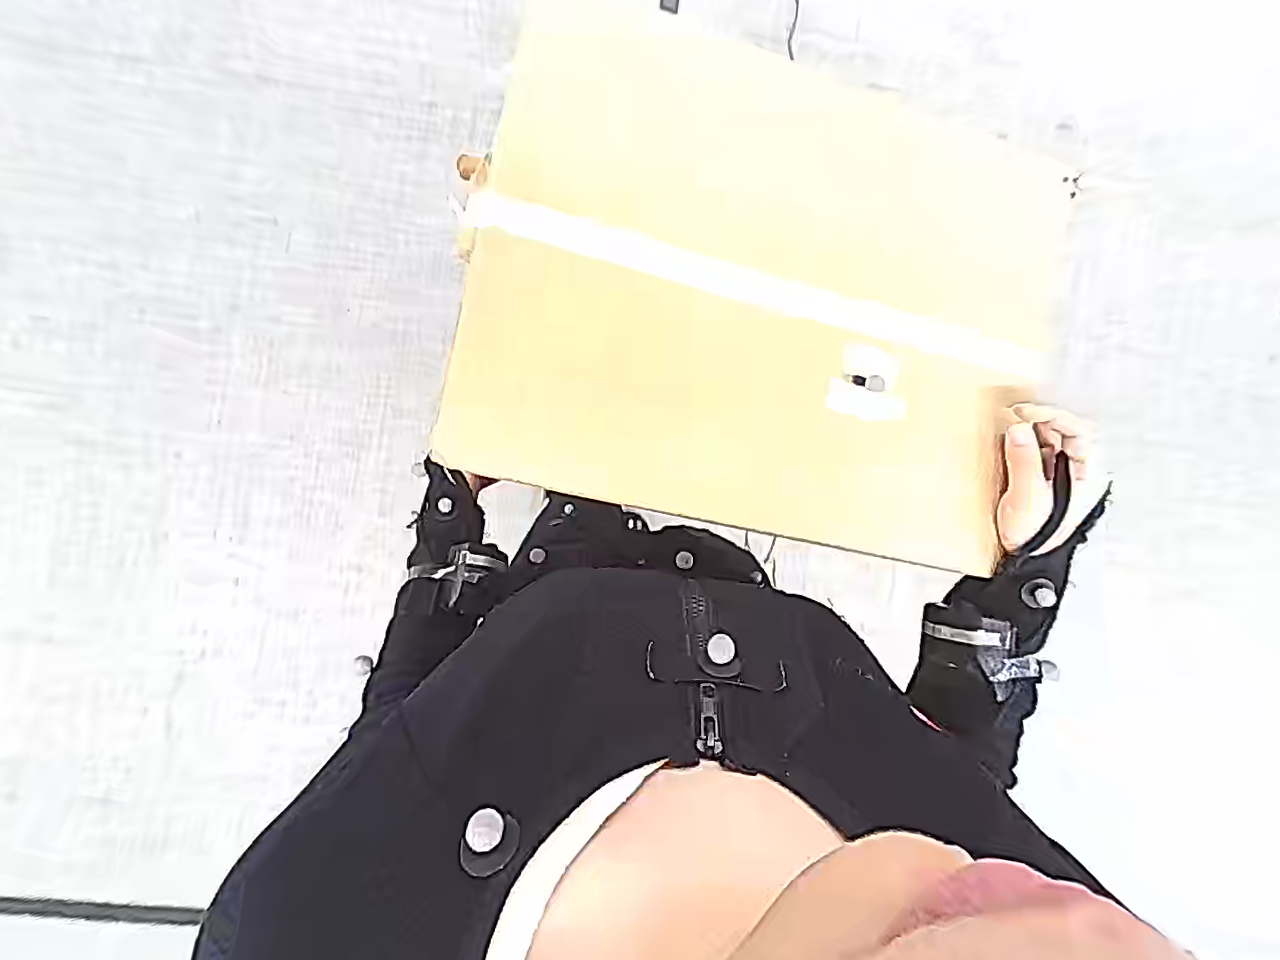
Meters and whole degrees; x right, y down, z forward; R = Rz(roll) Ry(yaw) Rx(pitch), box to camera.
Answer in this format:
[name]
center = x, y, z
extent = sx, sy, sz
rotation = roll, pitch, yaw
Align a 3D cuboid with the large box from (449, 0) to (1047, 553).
[large box]
center = 0.067, -0.130, 0.519
extent = 0.408, 0.320, 0.320
rotation = 12, 88, -12
